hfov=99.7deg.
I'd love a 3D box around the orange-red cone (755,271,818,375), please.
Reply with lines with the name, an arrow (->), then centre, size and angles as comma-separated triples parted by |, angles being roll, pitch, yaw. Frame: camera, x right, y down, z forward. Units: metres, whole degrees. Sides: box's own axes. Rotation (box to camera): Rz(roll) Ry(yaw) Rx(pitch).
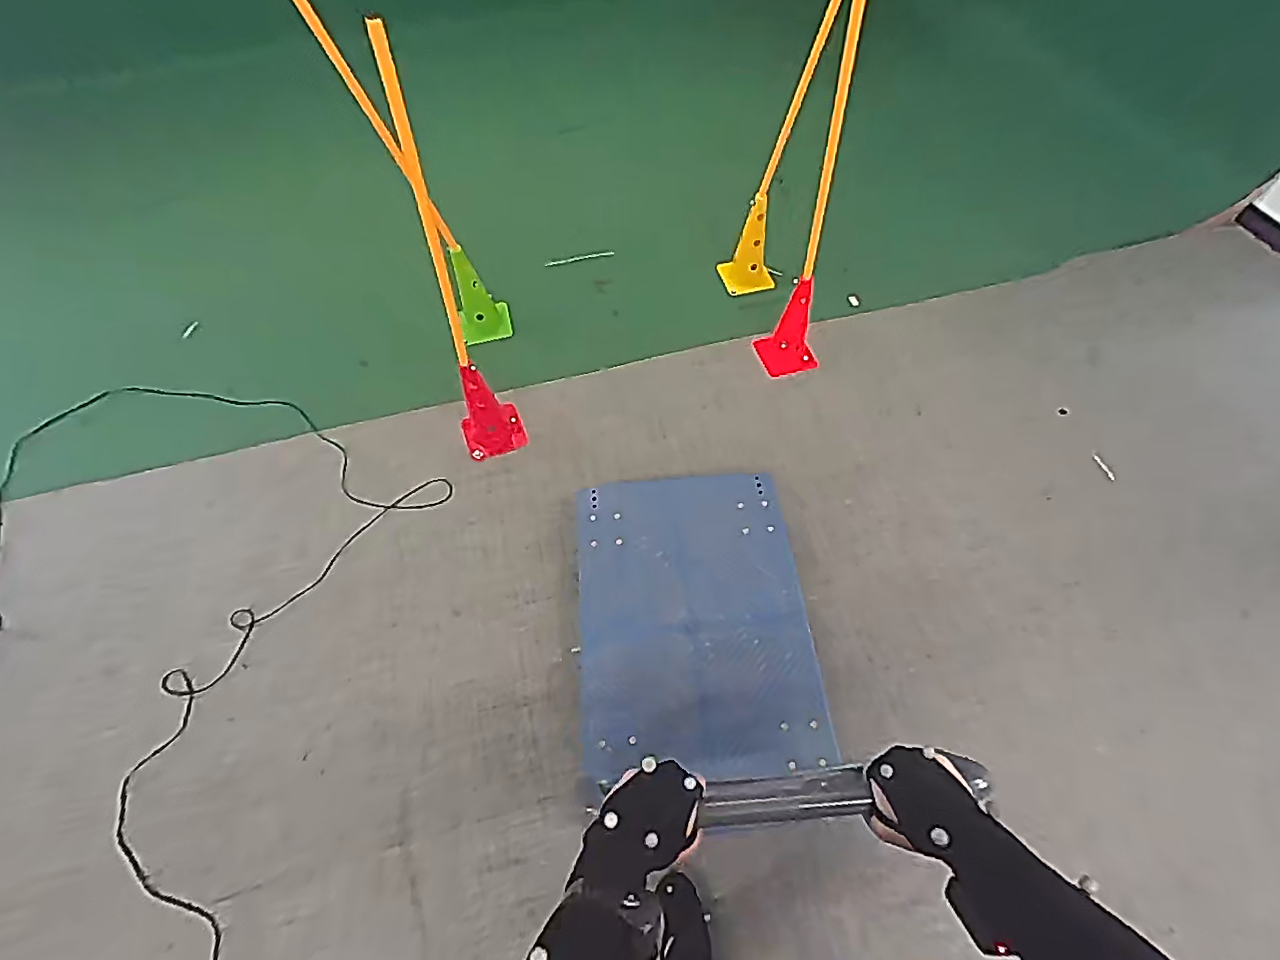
orange-red cone -> 0.548, -0.571, 1.896 | 0.198, 0.360, 0.199 | -13, 58, -7

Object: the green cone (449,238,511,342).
green cone -> -0.627, -0.724, 2.013 | 0.200, 0.368, 0.202 | -14, 59, -6
